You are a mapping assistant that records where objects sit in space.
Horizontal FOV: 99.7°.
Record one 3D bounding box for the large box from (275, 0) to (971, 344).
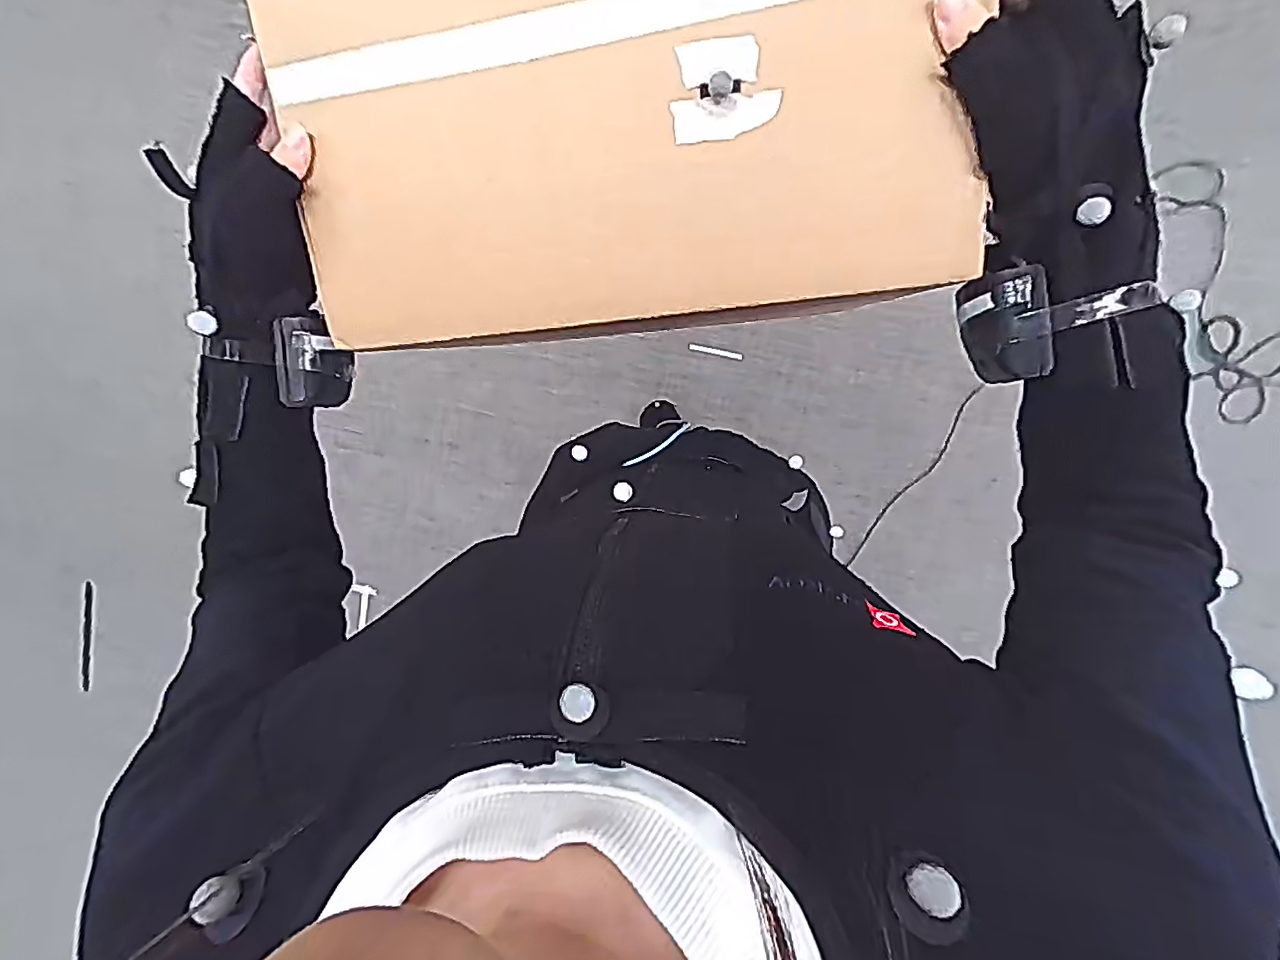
[{"bbox_3d":[-0.005,-0.297,0.453,0.408,0.320,0.320,-5,105,9],"label":"large box"}]
